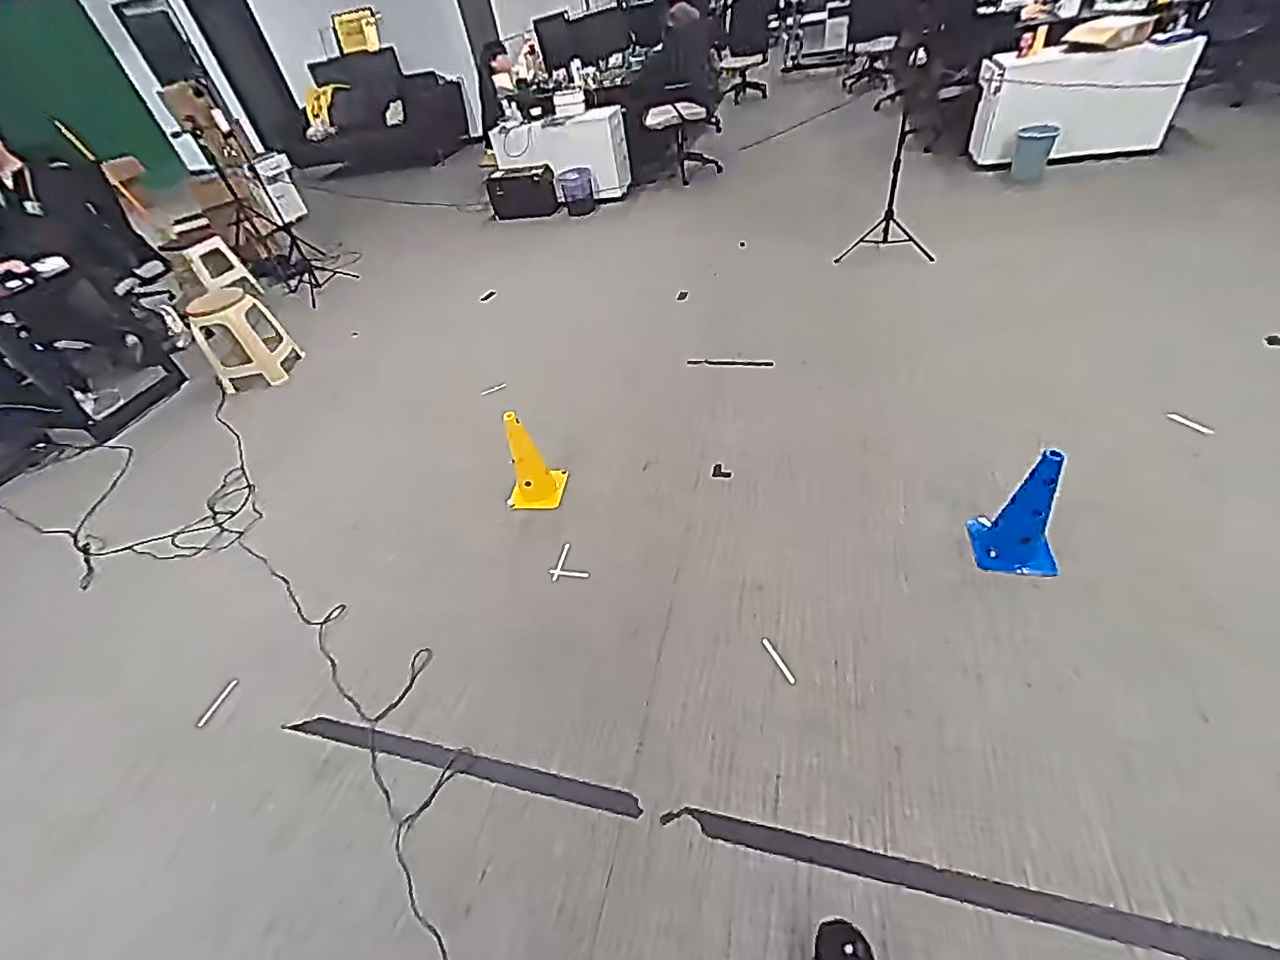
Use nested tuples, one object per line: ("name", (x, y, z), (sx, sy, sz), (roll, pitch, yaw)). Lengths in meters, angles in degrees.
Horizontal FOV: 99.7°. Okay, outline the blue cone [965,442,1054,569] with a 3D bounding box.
("blue cone", (1.042, 0.060, 1.466), (0.193, 0.380, 0.192), (4, 44, 16))
